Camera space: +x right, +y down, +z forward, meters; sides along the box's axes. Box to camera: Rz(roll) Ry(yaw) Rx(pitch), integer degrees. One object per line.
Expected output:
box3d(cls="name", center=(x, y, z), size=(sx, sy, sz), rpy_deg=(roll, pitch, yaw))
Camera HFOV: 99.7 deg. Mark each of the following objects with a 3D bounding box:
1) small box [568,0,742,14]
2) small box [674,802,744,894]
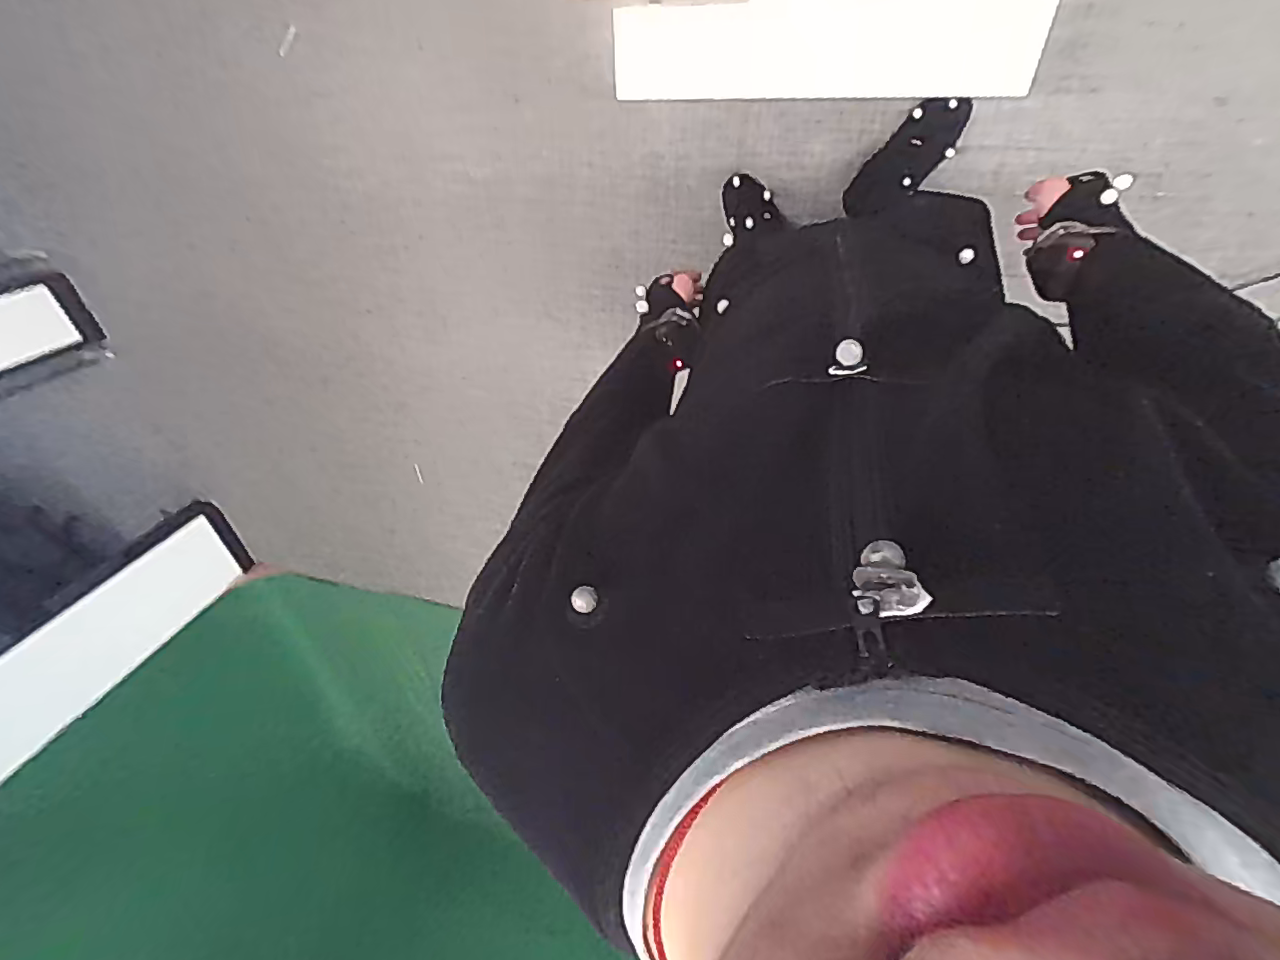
box3d(cls="small box", center=(0.028, -0.603, 0.564), size=(0.179, 0.176, 0.168), rpy_deg=(10, 129, 14))
box3d(cls="small box", center=(0.215, 1.124, 1.661), size=(0.179, 0.176, 0.168), rpy_deg=(13, 129, 10))
